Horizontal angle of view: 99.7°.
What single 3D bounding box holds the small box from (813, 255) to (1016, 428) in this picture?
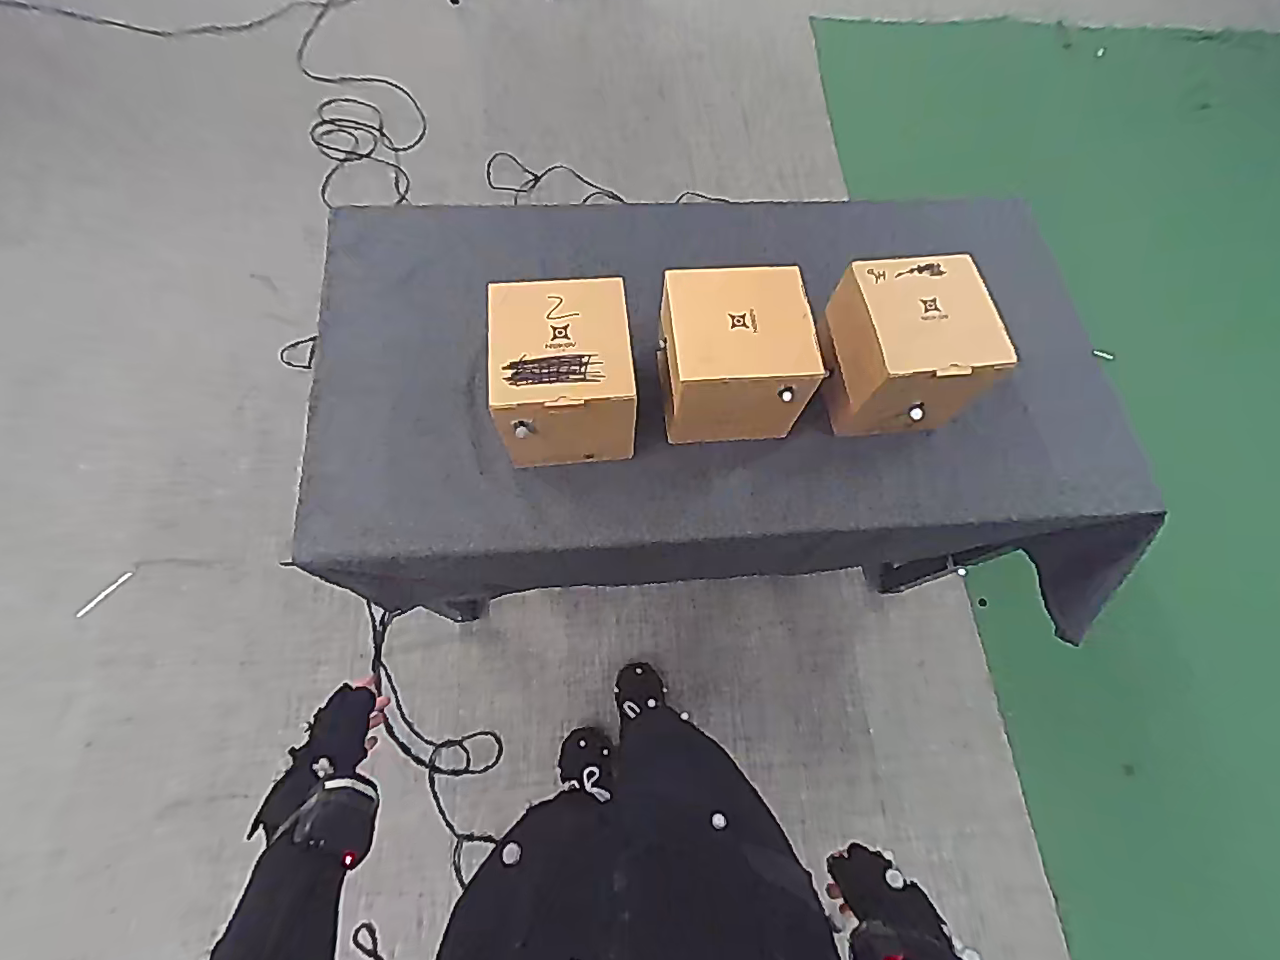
[{"bbox_3d":[0.360,-0.180,0.746,0.168,0.176,0.179,-4,69,-6],"label":"small box"}]
